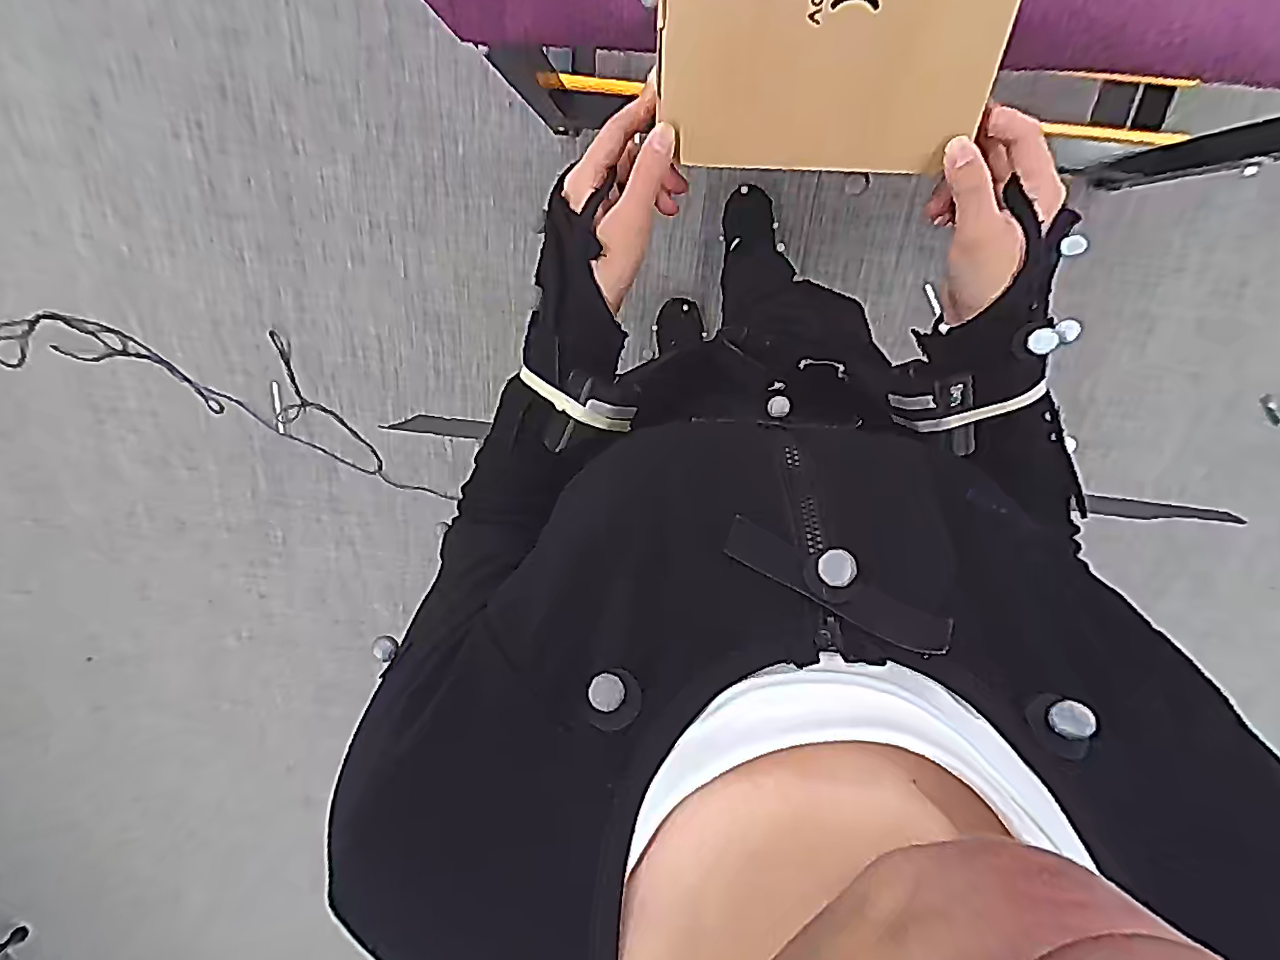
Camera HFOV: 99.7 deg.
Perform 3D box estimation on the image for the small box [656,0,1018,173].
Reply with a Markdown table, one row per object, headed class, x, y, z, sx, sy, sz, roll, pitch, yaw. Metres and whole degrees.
| class | x | y | z | sx | sy | sz | roll | pitch | yaw |
| --- | --- | --- | --- | --- | --- | --- | --- | --- | --- |
| small box | 0.104 | -0.293 | 0.325 | 0.179 | 0.176 | 0.168 | 4 | 125 | 2 |
